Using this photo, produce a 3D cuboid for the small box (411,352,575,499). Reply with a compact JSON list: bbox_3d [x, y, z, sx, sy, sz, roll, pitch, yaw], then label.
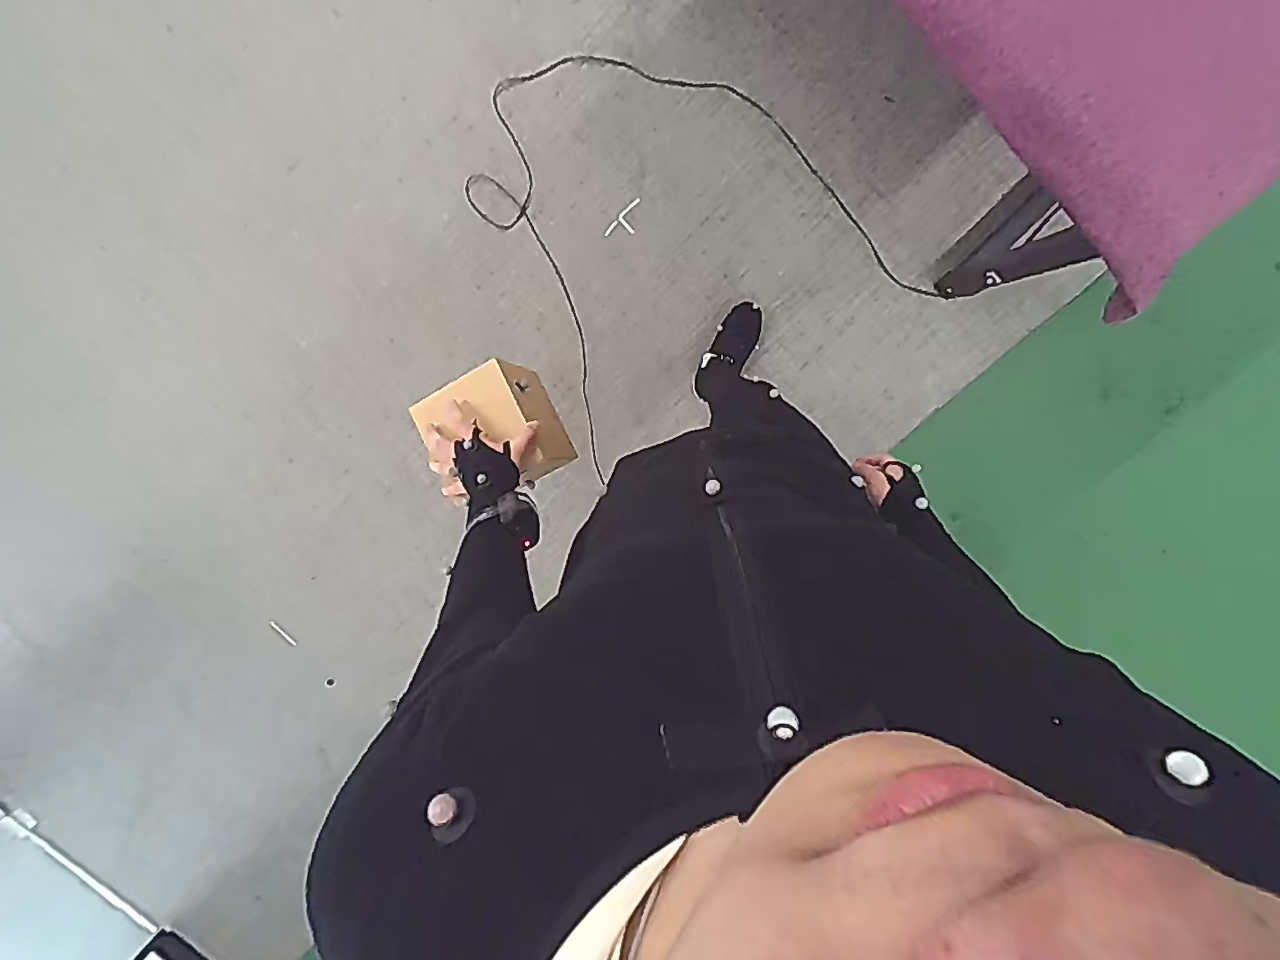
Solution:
[{"bbox_3d":[-0.231,-0.084,0.889,0.168,0.176,0.179,-26,89,12],"label":"small box"}]
